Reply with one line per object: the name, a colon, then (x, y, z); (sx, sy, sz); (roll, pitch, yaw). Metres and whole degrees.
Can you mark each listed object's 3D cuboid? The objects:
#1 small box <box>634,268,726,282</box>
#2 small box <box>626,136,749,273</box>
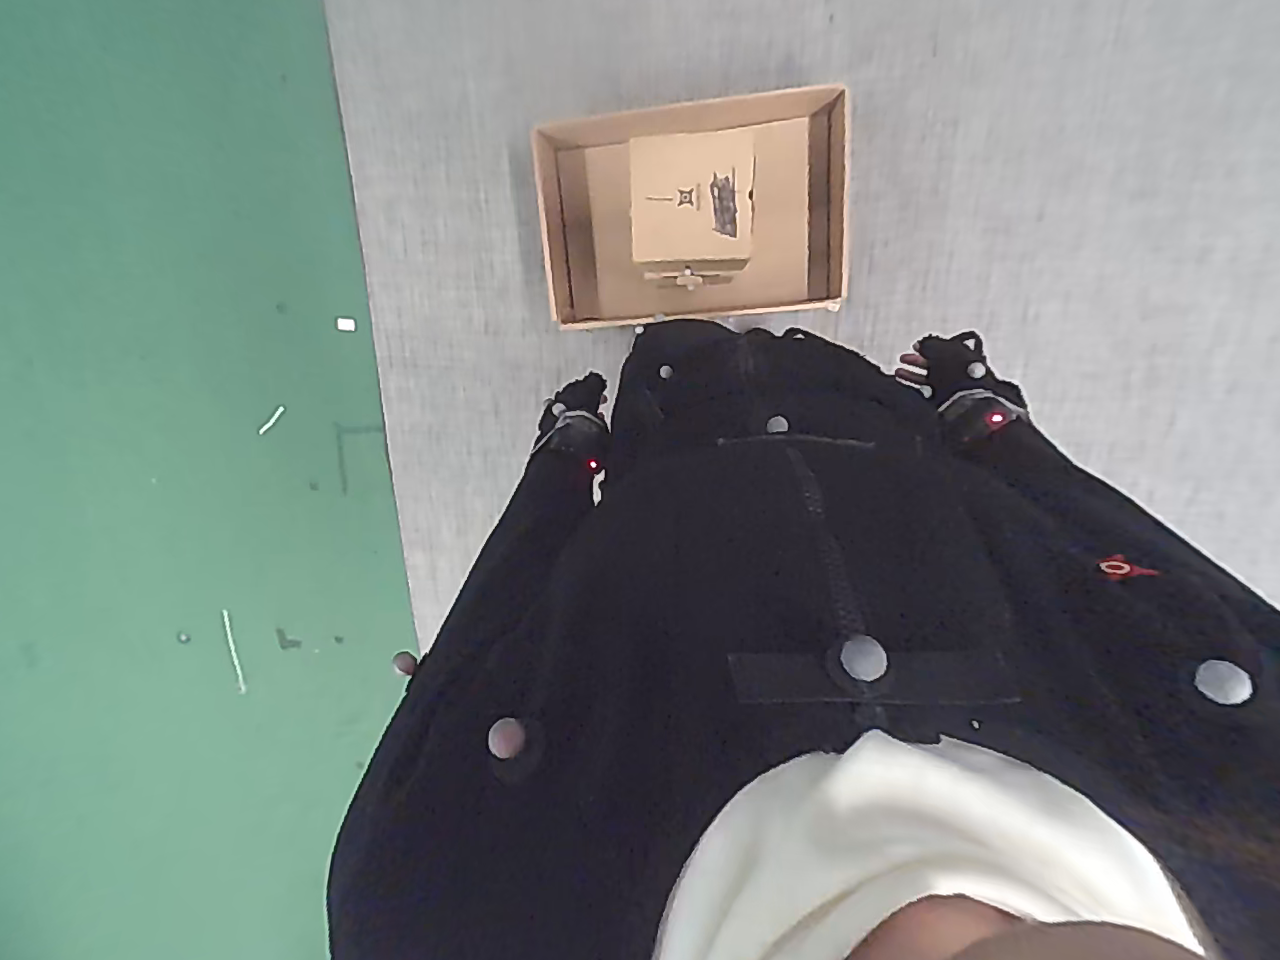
small box: (0.080, -0.462, 1.003); (0.168, 0.176, 0.179); (1, 107, 6)
small box: (0.073, -0.426, 0.859); (0.179, 0.176, 0.168); (1, 105, 6)
